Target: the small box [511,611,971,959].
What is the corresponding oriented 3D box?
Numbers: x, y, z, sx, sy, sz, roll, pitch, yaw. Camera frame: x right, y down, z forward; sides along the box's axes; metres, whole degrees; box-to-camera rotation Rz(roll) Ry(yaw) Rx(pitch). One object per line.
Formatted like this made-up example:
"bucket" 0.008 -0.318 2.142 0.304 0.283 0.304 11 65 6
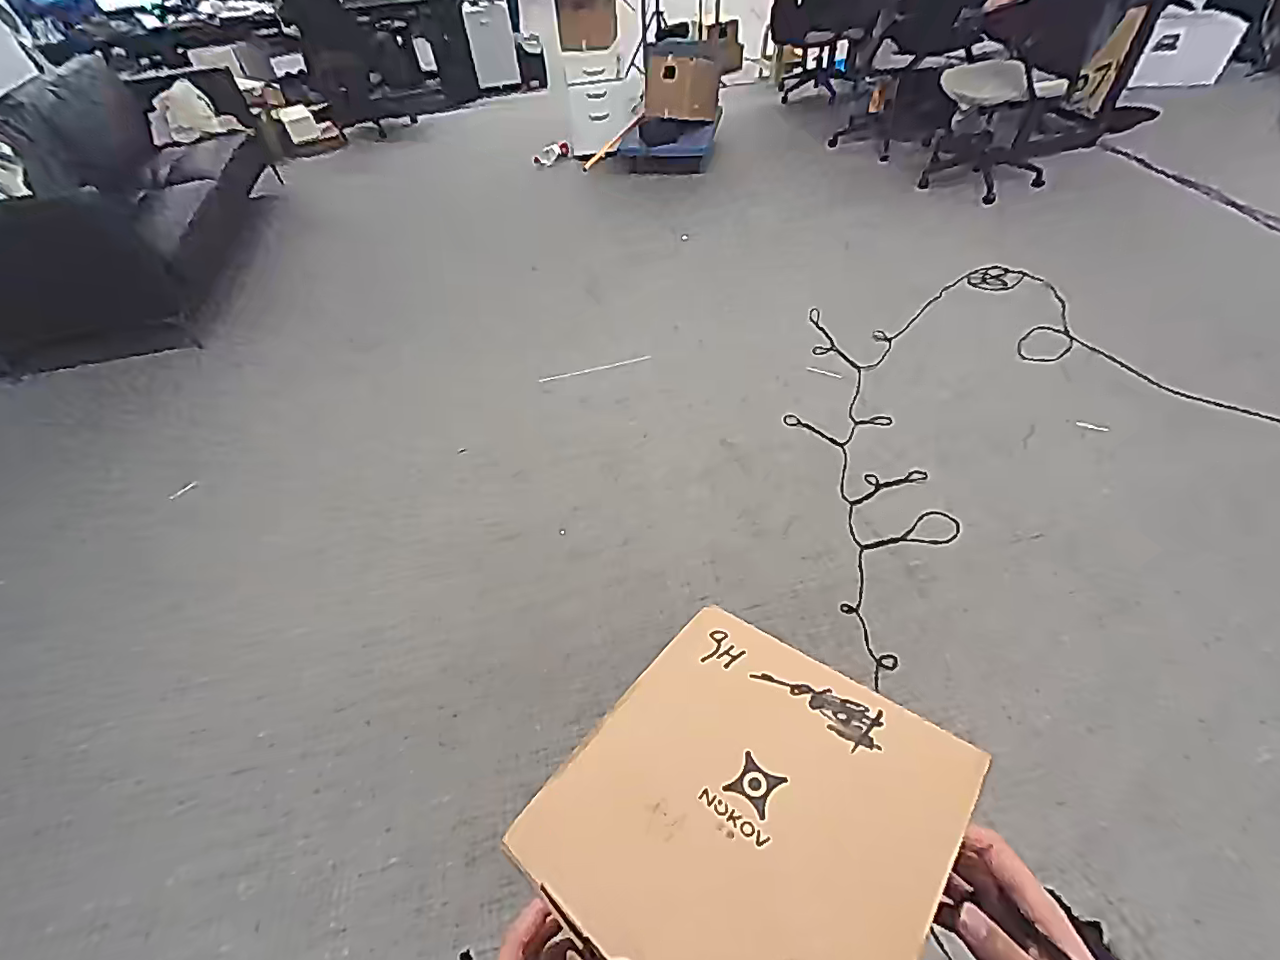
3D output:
"small box" 0.061 0.220 0.315 0.168 0.176 0.179 23 48 36
